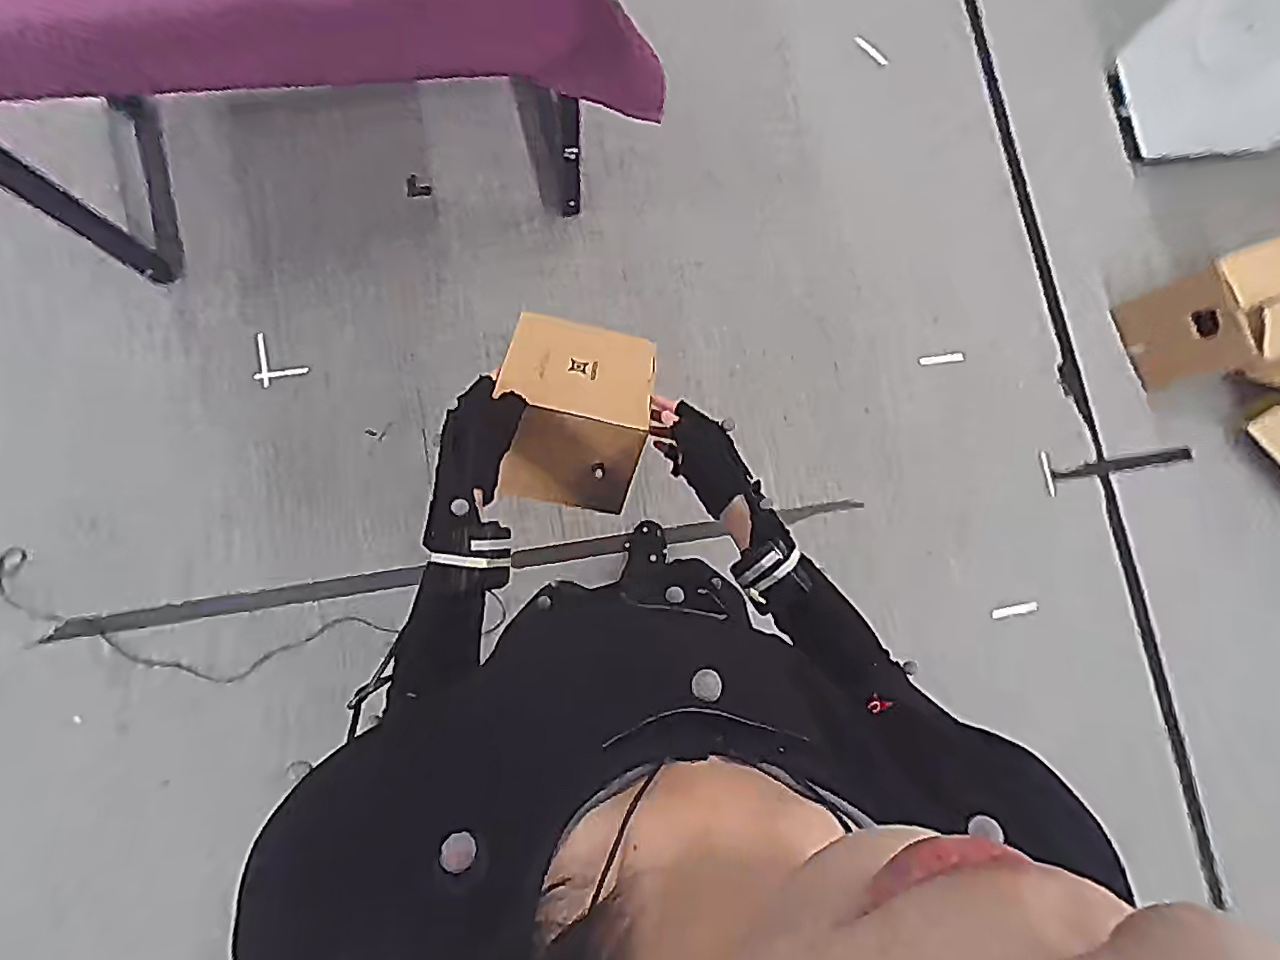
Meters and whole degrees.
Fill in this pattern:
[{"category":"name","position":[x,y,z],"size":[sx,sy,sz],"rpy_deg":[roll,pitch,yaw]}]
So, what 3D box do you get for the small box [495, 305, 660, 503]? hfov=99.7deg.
[{"category":"small box","position":[-0.080,-0.089,0.687],"size":[0.179,0.176,0.168],"rpy_deg":[9,50,-7]}]
